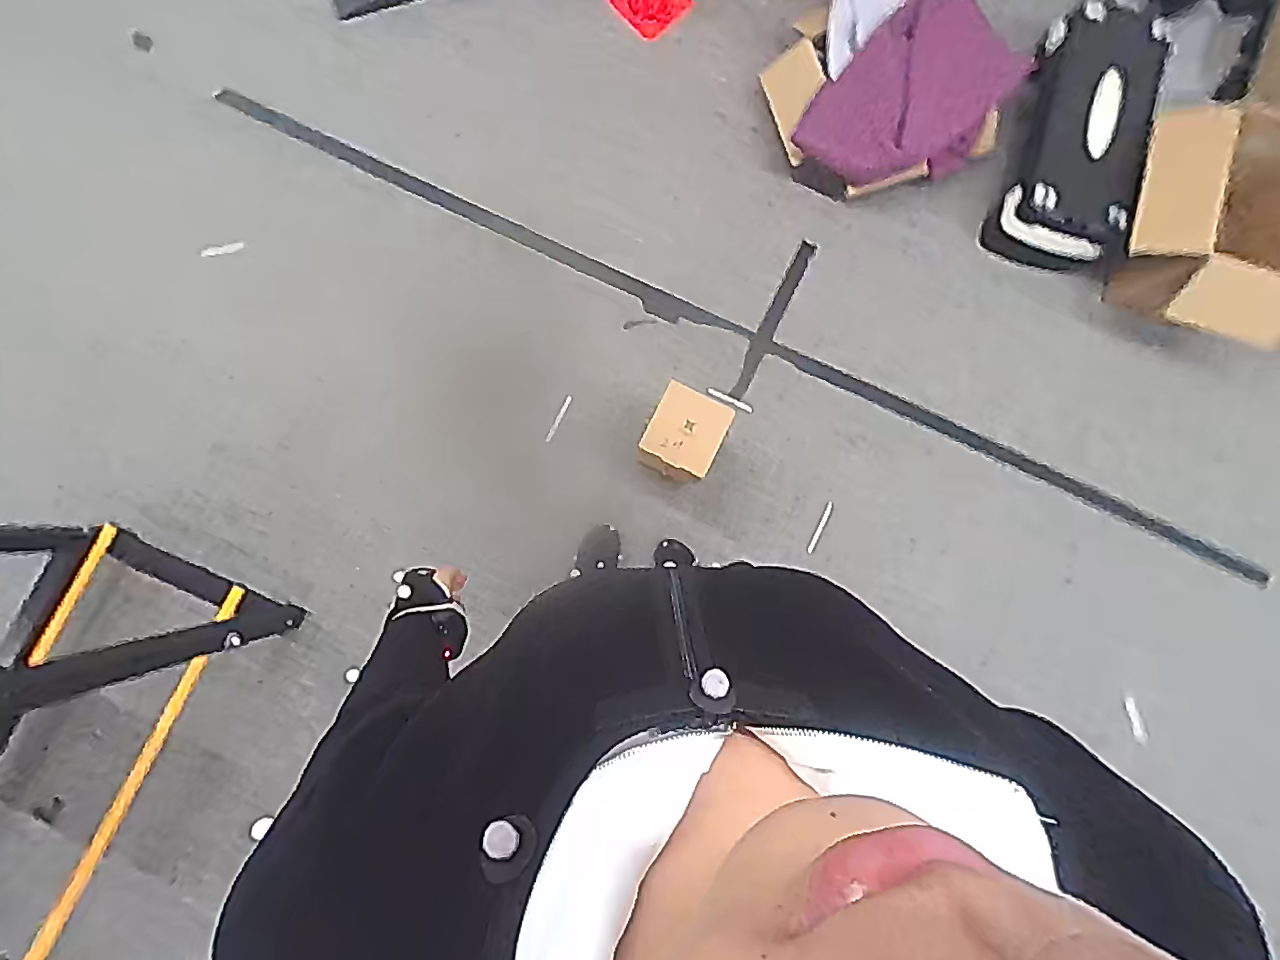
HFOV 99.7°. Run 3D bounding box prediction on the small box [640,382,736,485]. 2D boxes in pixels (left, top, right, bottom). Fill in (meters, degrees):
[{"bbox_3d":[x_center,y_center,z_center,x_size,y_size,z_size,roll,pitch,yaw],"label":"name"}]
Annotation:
[{"bbox_3d":[0.106,-0.102,1.289,0.168,0.176,0.179,27,85,2],"label":"small box"}]
